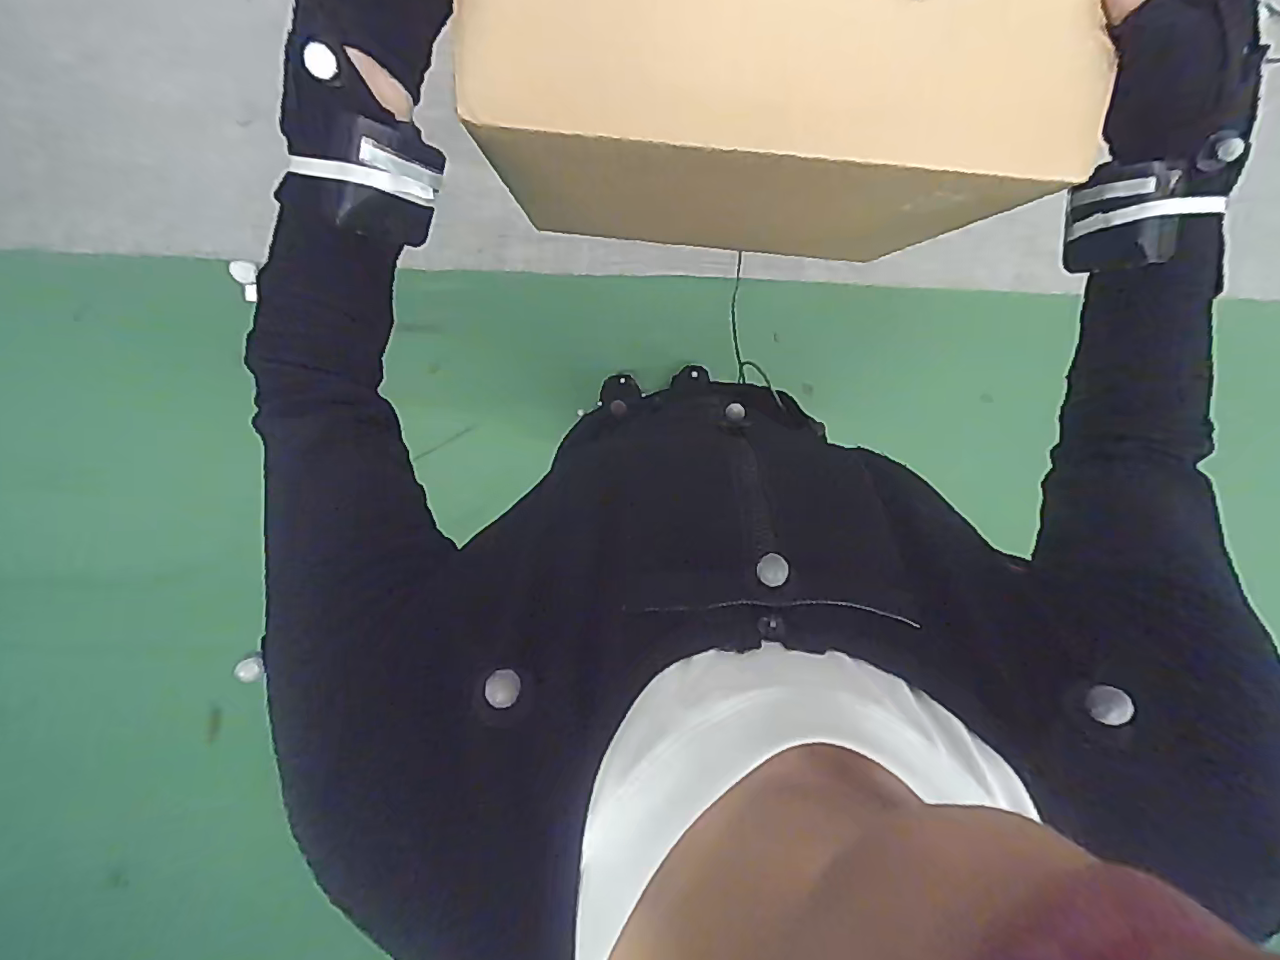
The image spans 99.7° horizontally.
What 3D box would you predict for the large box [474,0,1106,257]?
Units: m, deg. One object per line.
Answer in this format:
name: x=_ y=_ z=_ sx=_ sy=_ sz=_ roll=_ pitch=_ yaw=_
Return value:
large box: x=0.093 y=-0.393 z=0.468 sx=0.408 sy=0.320 sz=0.320 roll=3 pitch=103 yaw=-3
